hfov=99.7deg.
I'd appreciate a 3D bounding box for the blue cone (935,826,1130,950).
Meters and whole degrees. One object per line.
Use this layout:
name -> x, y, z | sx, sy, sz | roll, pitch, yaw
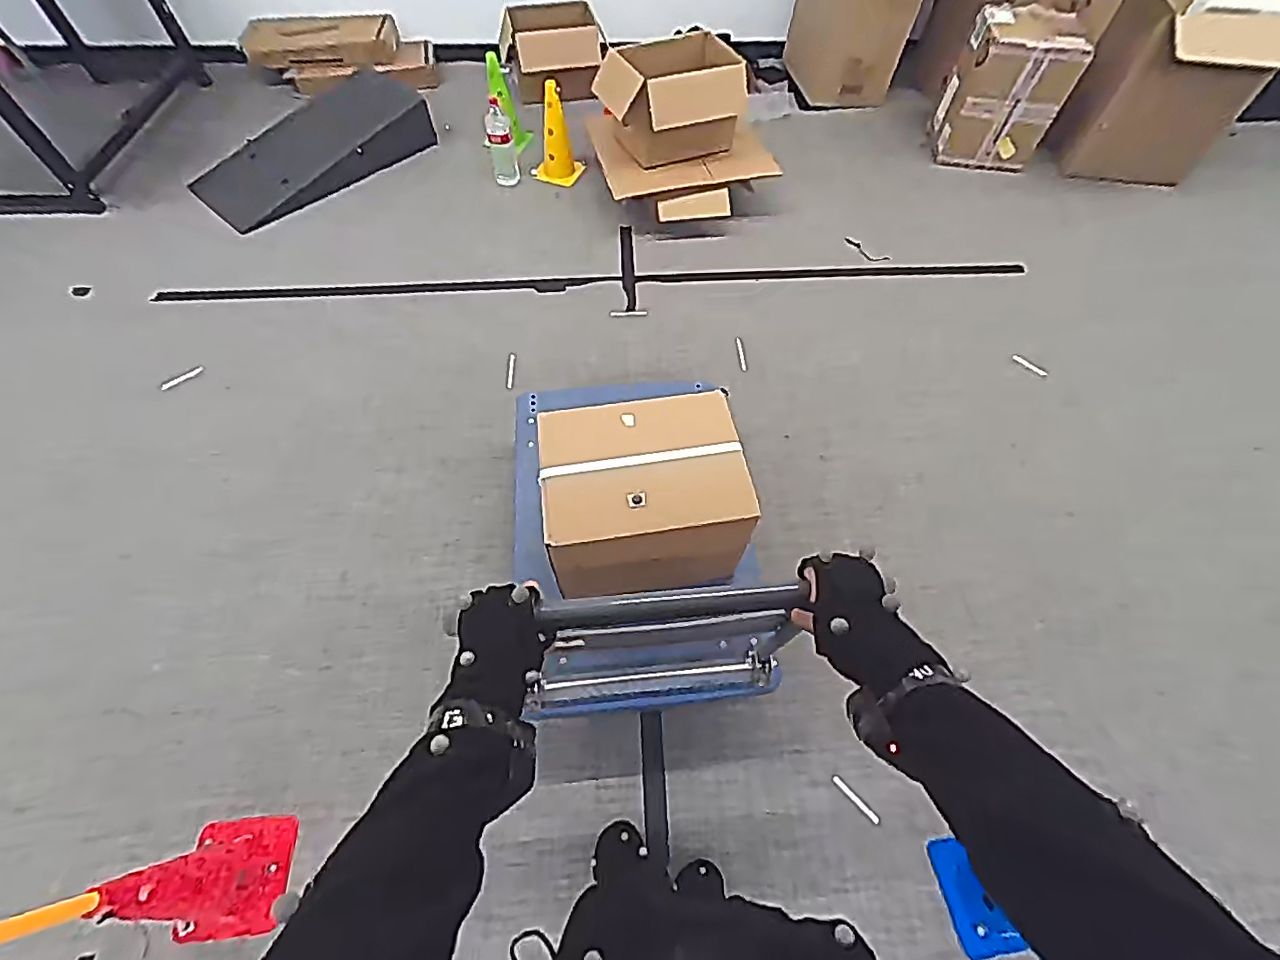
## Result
blue cone -> 0.731, 0.752, 0.978 | 0.193, 0.380, 0.192 | -5, 58, -5
